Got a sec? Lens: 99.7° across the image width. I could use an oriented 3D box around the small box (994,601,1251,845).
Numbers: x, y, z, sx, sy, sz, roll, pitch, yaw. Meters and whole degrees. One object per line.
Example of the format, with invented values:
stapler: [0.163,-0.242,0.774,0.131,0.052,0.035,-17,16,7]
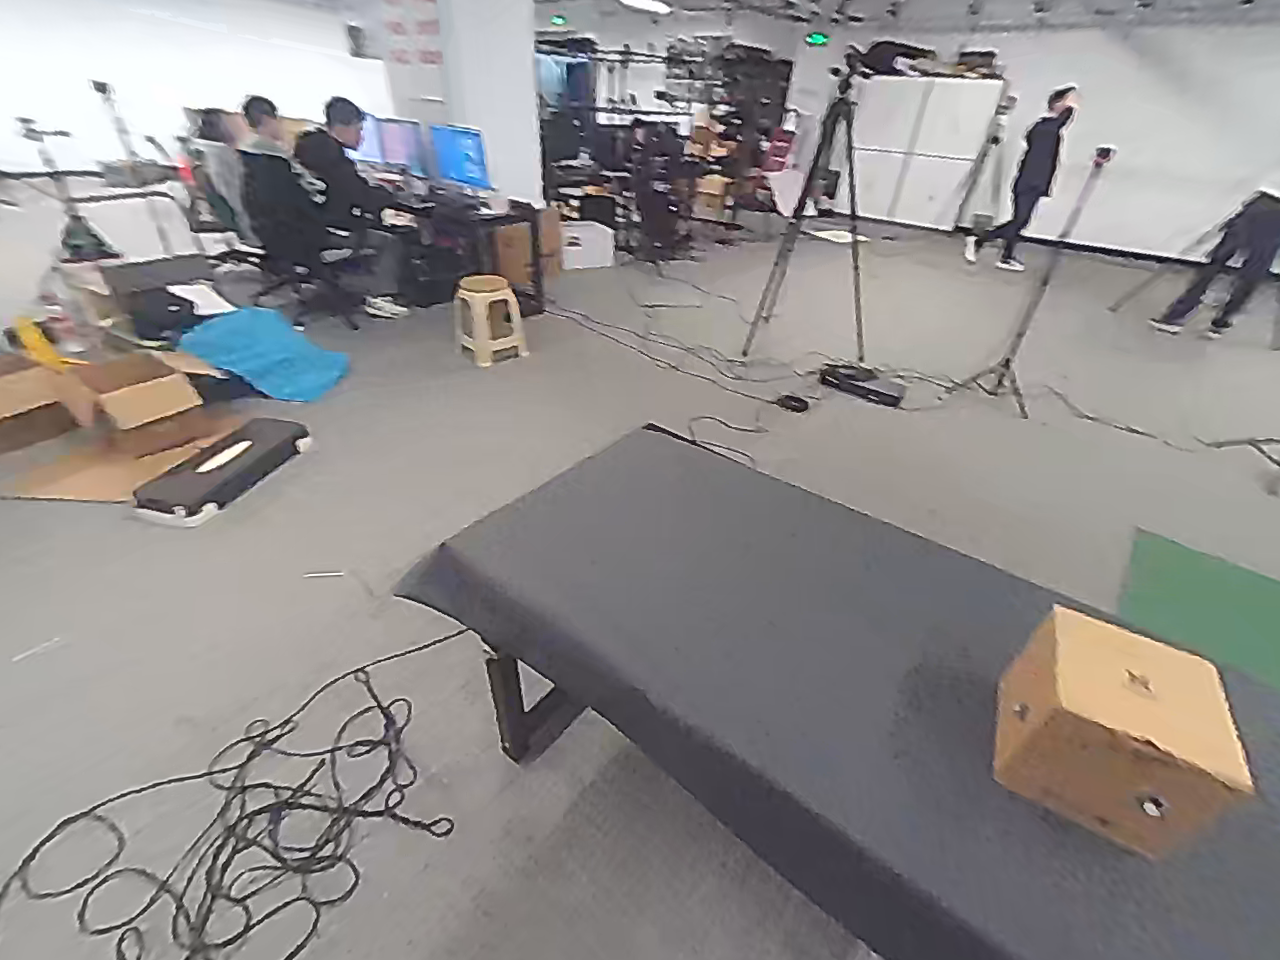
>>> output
small box: [0.555,0.289,0.655,0.168,0.176,0.179,22,38,23]
